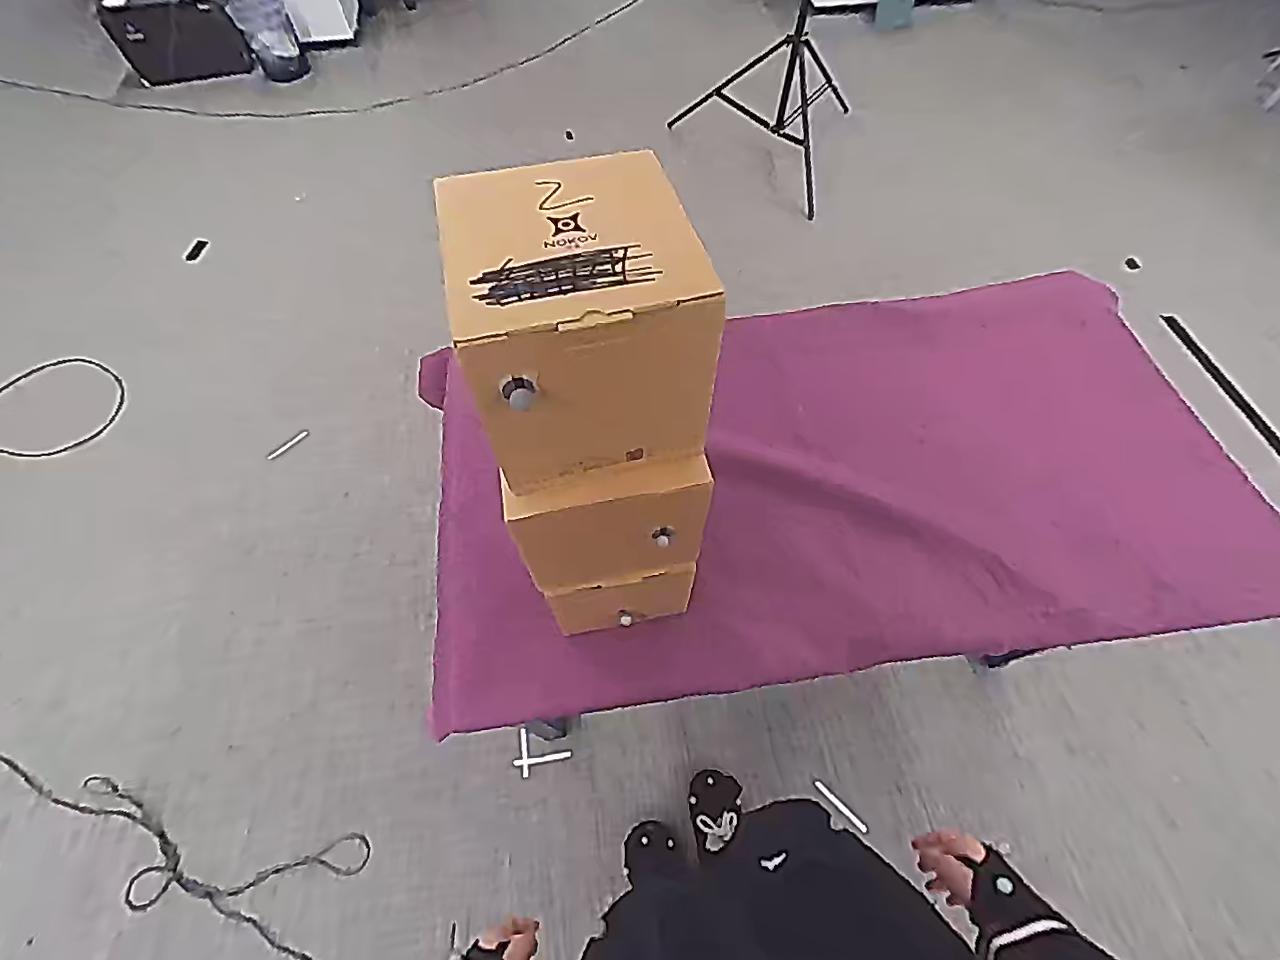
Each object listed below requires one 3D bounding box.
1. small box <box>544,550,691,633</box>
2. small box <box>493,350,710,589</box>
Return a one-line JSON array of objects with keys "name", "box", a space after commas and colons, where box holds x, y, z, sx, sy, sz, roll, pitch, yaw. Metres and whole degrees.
[{"name": "small box", "box": [-0.038, 0.078, 0.695, 0.168, 0.176, 0.179, -10, 61, -5]}, {"name": "small box", "box": [-0.041, -0.004, 0.556, 0.179, 0.176, 0.168, -11, 59, -5]}]
